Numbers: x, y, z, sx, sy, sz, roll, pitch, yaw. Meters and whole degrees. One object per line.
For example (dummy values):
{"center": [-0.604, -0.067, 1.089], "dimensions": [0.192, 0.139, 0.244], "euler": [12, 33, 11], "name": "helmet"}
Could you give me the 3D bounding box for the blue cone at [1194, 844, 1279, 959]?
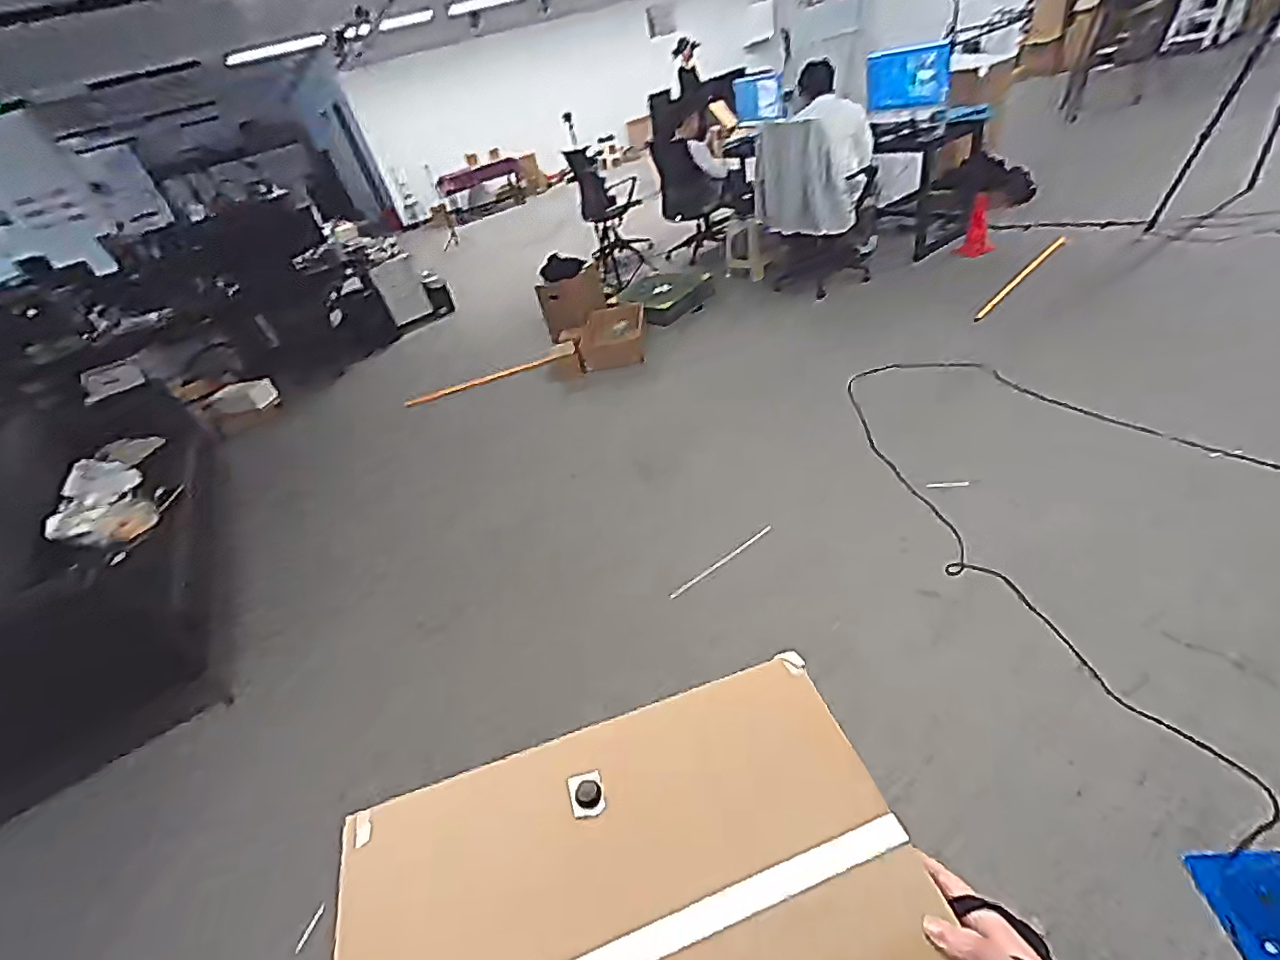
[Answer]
{"center": [1.164, 0.669, 0.910], "dimensions": [0.192, 0.380, 0.193], "euler": [-11, 38, 8], "name": "blue cone"}
